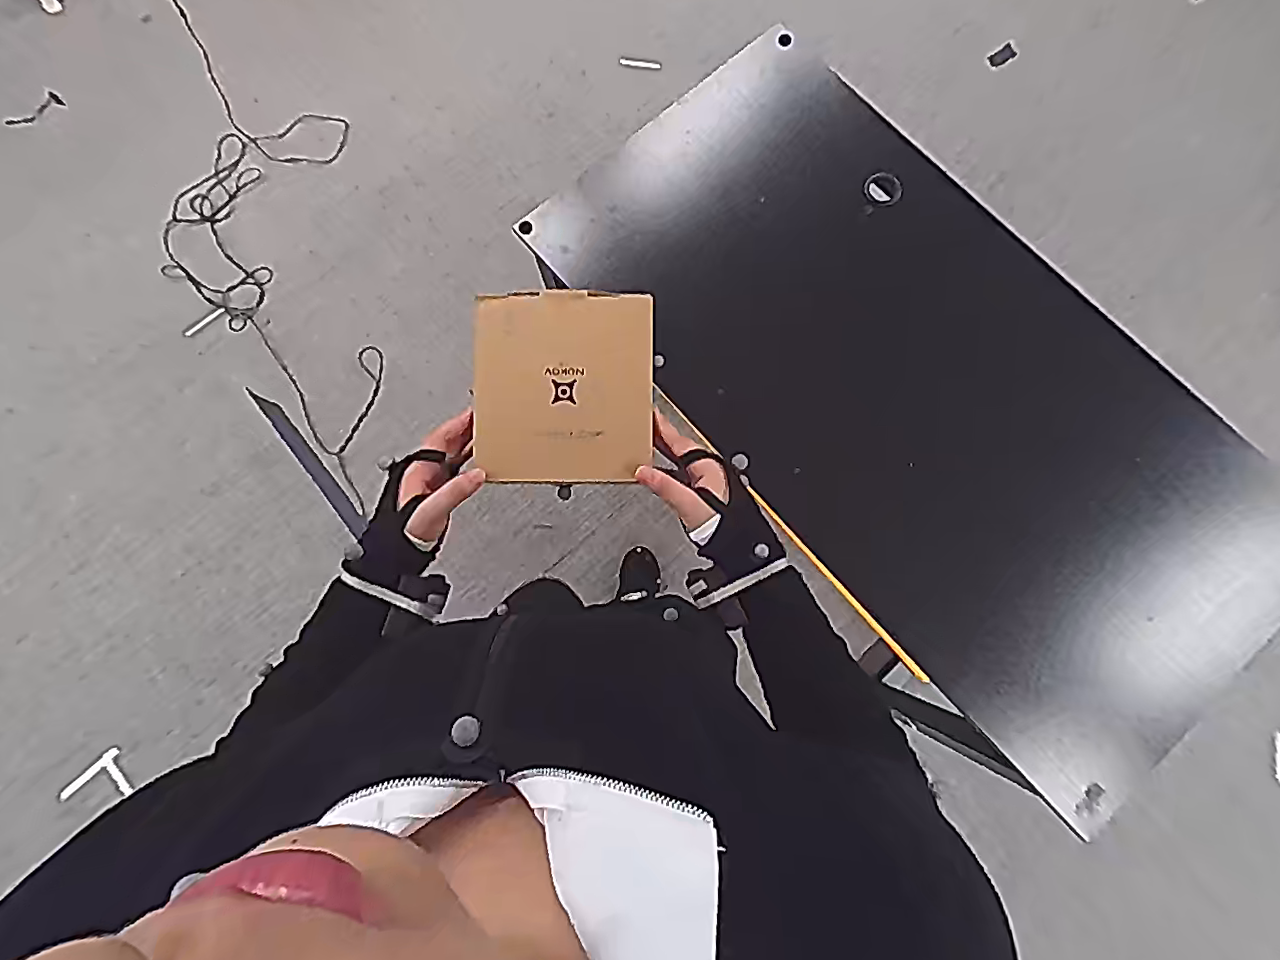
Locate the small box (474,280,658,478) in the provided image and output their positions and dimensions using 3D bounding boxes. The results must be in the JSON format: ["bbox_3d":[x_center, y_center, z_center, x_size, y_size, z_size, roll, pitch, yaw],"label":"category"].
[{"bbox_3d":[-0.070,-0.093,0.573,0.168,0.176,0.179,1,89,-2],"label":"small box"}]
